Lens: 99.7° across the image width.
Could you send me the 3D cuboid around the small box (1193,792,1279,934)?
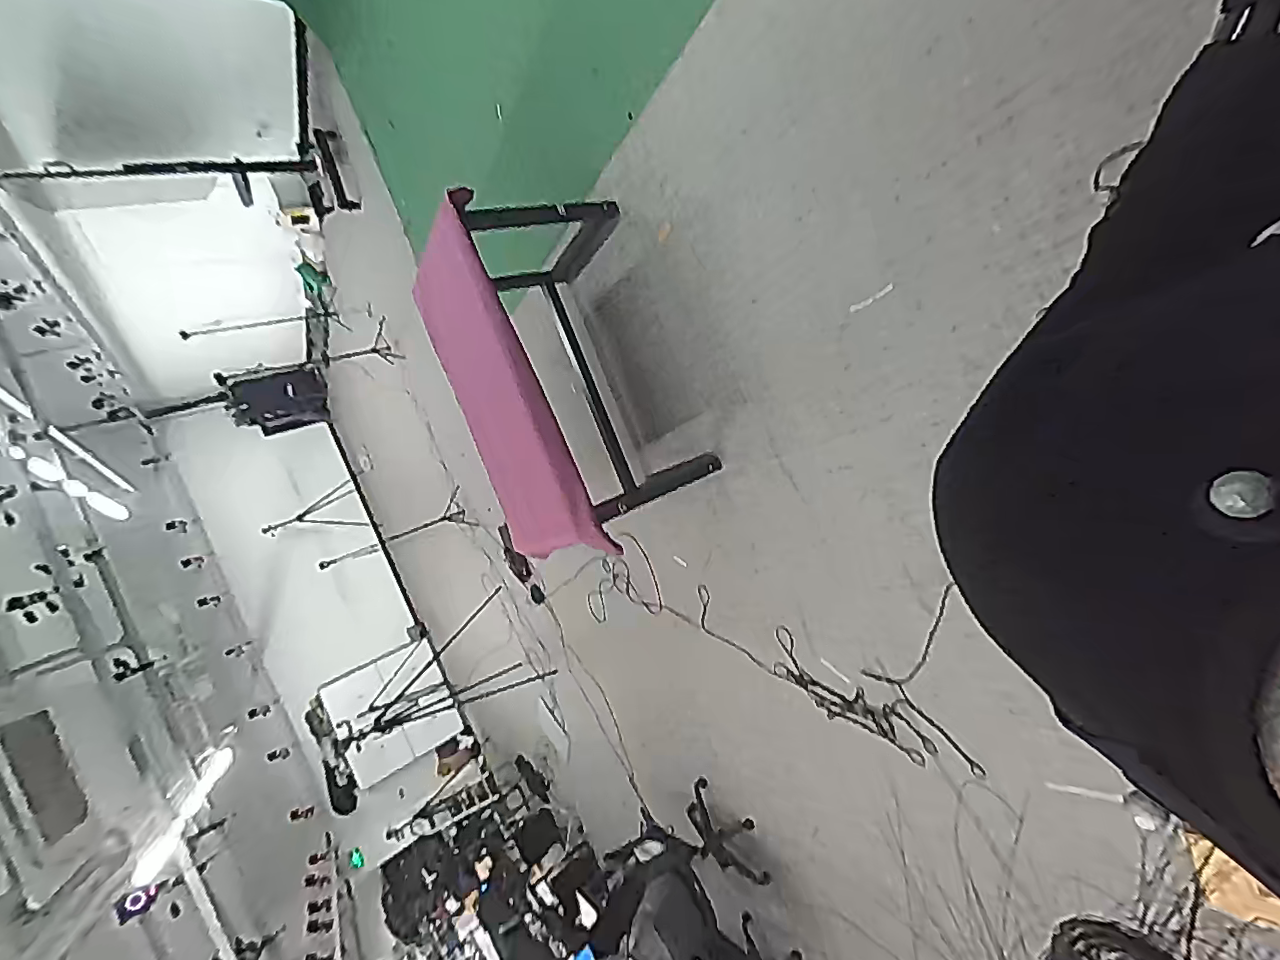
[{"bbox_3d":[1.222,0.737,1.035,0.179,0.176,0.168,-25,87,57],"label":"small box"}]
